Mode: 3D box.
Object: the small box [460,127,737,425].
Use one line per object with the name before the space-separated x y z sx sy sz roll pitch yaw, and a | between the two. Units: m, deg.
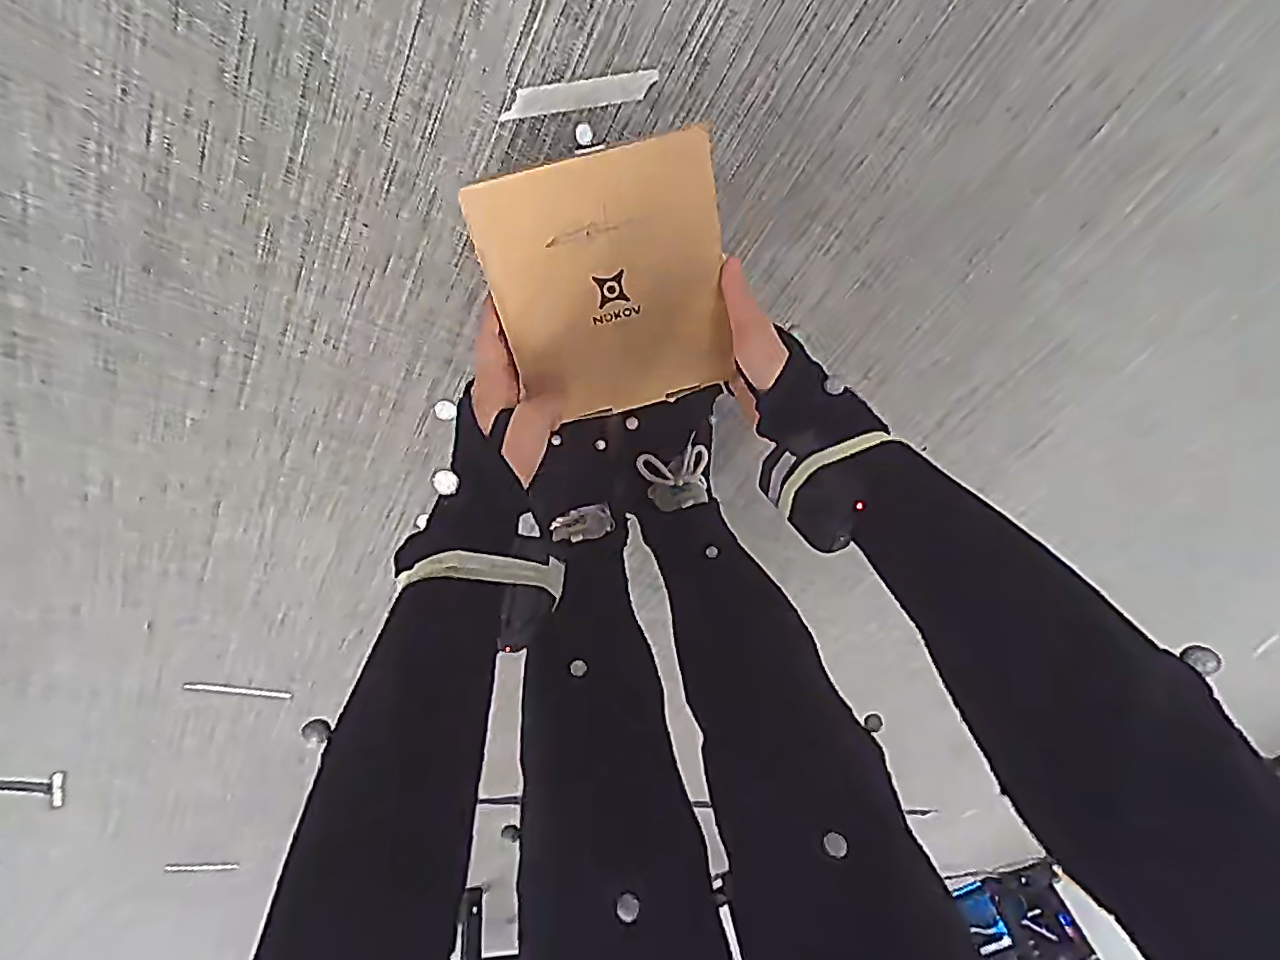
small box | -0.029 -0.174 0.451 0.168 0.176 0.179 -15 122 -1
